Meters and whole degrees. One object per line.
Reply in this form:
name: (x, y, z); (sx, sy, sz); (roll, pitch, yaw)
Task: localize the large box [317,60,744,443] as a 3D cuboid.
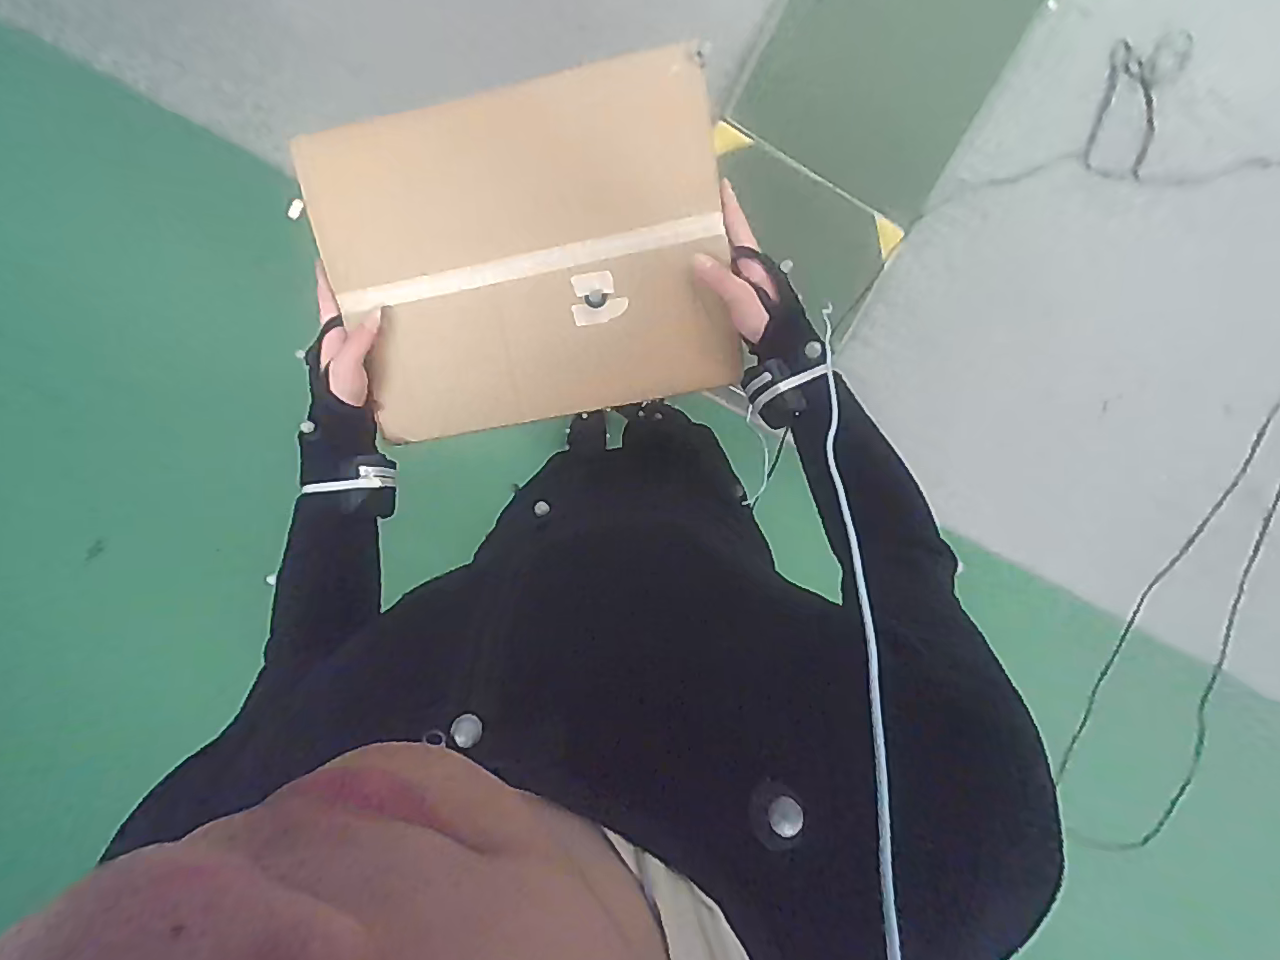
large box: (-0.102, -0.255, 0.706); (0.408, 0.320, 0.320); (-9, 105, 5)
